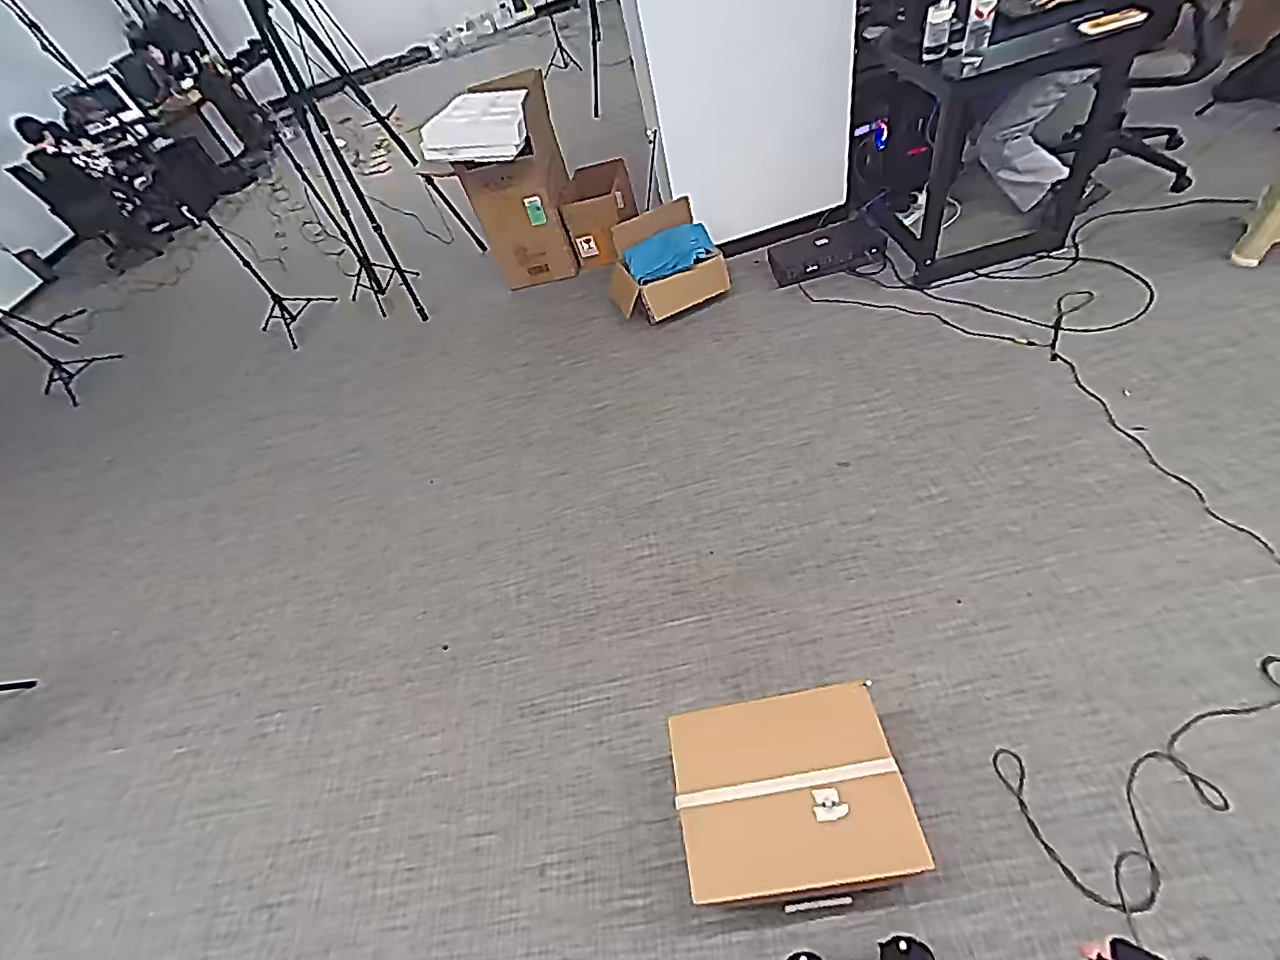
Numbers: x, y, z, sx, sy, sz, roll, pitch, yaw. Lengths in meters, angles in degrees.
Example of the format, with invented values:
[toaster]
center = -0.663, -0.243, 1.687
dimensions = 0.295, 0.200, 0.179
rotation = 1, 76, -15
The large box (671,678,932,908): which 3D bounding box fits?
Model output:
[large box]
center = 0.305, 0.651, 1.112
dimensions = 0.408, 0.320, 0.320
rotation = -13, 49, 6
